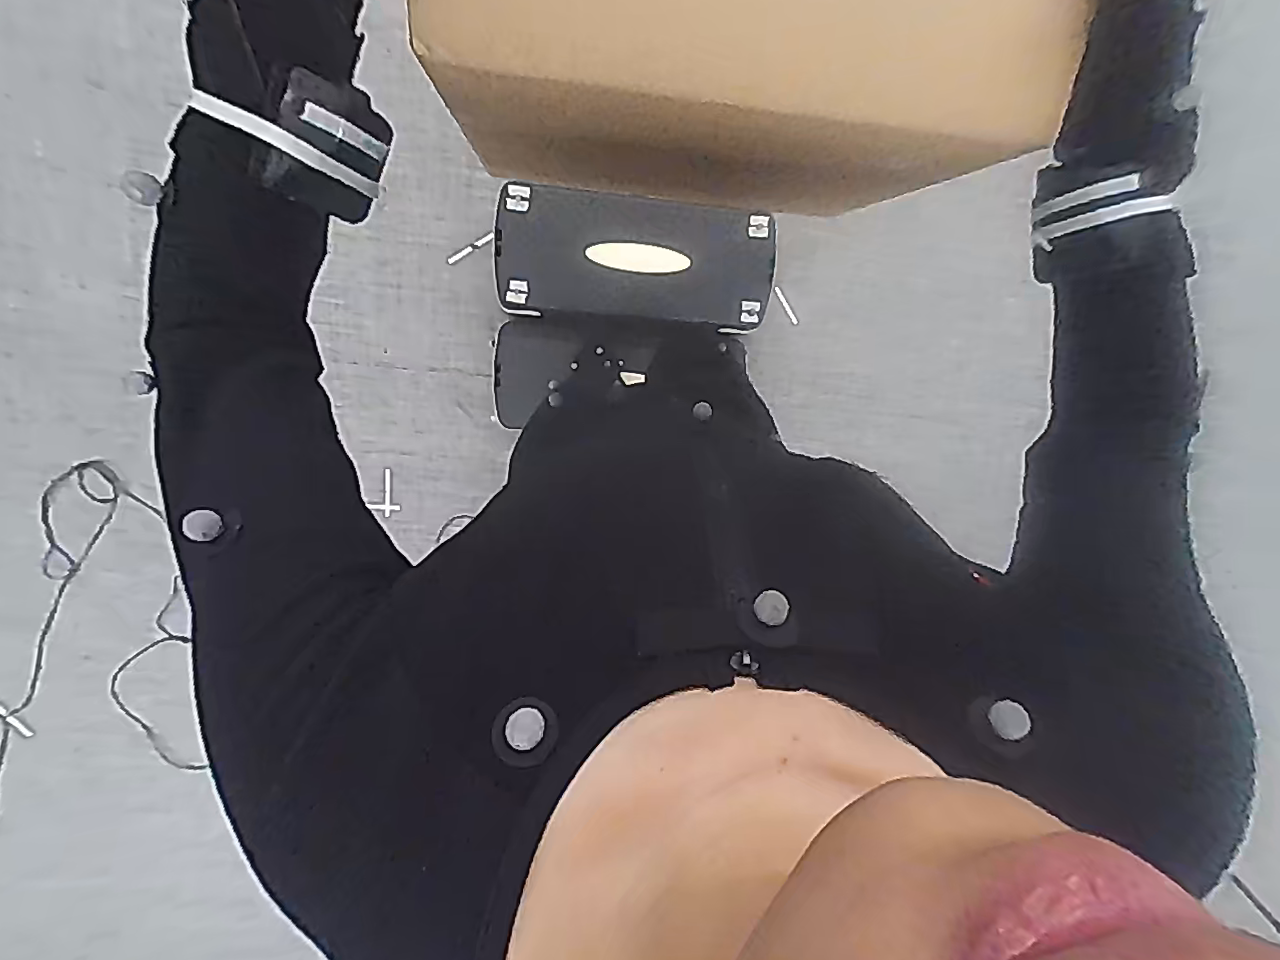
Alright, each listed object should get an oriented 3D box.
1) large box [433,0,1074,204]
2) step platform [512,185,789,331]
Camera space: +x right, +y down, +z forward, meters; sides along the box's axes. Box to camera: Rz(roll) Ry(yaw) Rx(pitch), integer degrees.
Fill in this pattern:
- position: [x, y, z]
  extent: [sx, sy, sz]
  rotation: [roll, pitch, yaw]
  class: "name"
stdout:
- position: [0.063, -0.431, 0.432]
  extent: [0.408, 0.320, 0.320]
  rotation: [1, 108, -9]
  class: "large box"
- position: [0.025, -0.547, 1.370]
  extent: [0.684, 0.204, 0.286]
  rotation: [2, 102, -7]
  class: "step platform"
